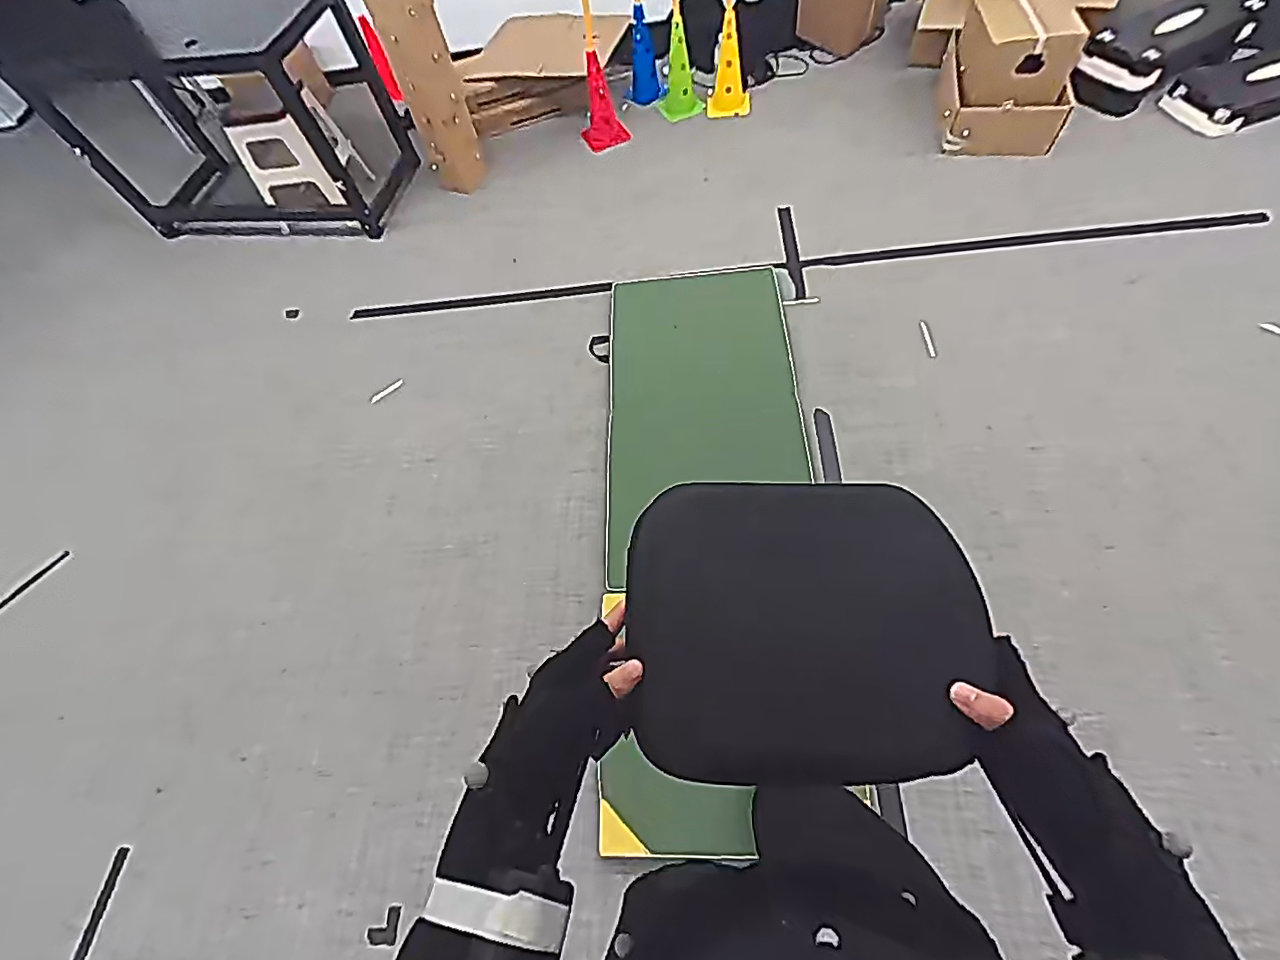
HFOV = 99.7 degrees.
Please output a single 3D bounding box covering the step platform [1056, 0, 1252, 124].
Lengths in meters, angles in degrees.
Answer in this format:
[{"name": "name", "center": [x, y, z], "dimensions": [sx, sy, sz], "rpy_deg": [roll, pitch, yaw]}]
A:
[{"name": "step platform", "center": [2.125, -1.750, 2.242], "dimensions": [0.684, 0.204, 0.286], "rpy_deg": [-30, 62, -8]}]
